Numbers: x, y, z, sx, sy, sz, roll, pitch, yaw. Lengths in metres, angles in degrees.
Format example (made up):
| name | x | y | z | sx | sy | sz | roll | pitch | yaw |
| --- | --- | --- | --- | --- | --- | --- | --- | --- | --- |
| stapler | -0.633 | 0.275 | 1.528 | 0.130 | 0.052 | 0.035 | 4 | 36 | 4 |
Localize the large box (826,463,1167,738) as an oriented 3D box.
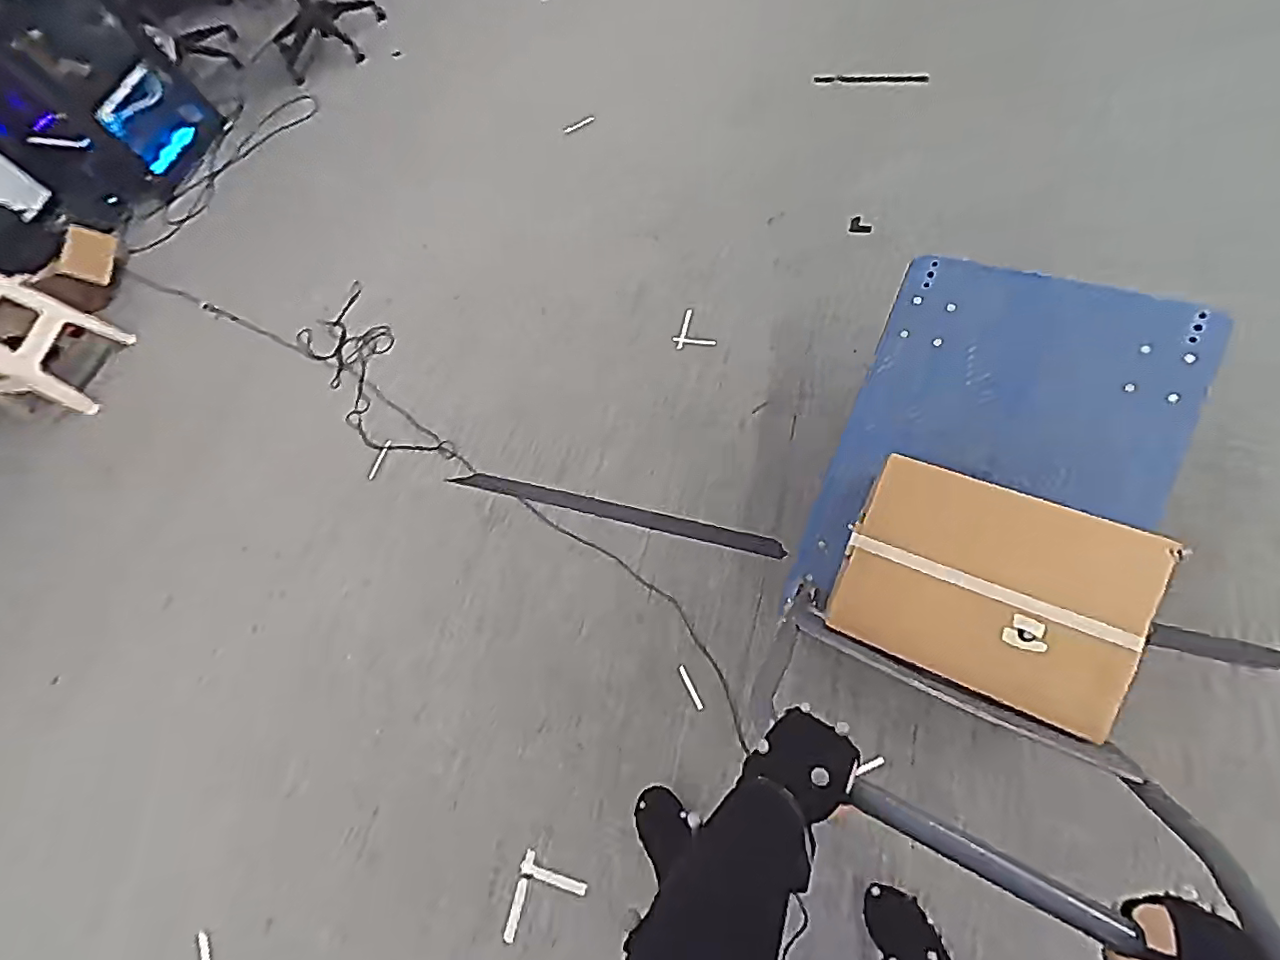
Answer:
| name | x | y | z | sx | sy | sz | roll | pitch | yaw |
| --- | --- | --- | --- | --- | --- | --- | --- | --- | --- |
| large box | 0.590 | 0.190 | 0.995 | 0.408 | 0.320 | 0.320 | 21 | 92 | 20 |
